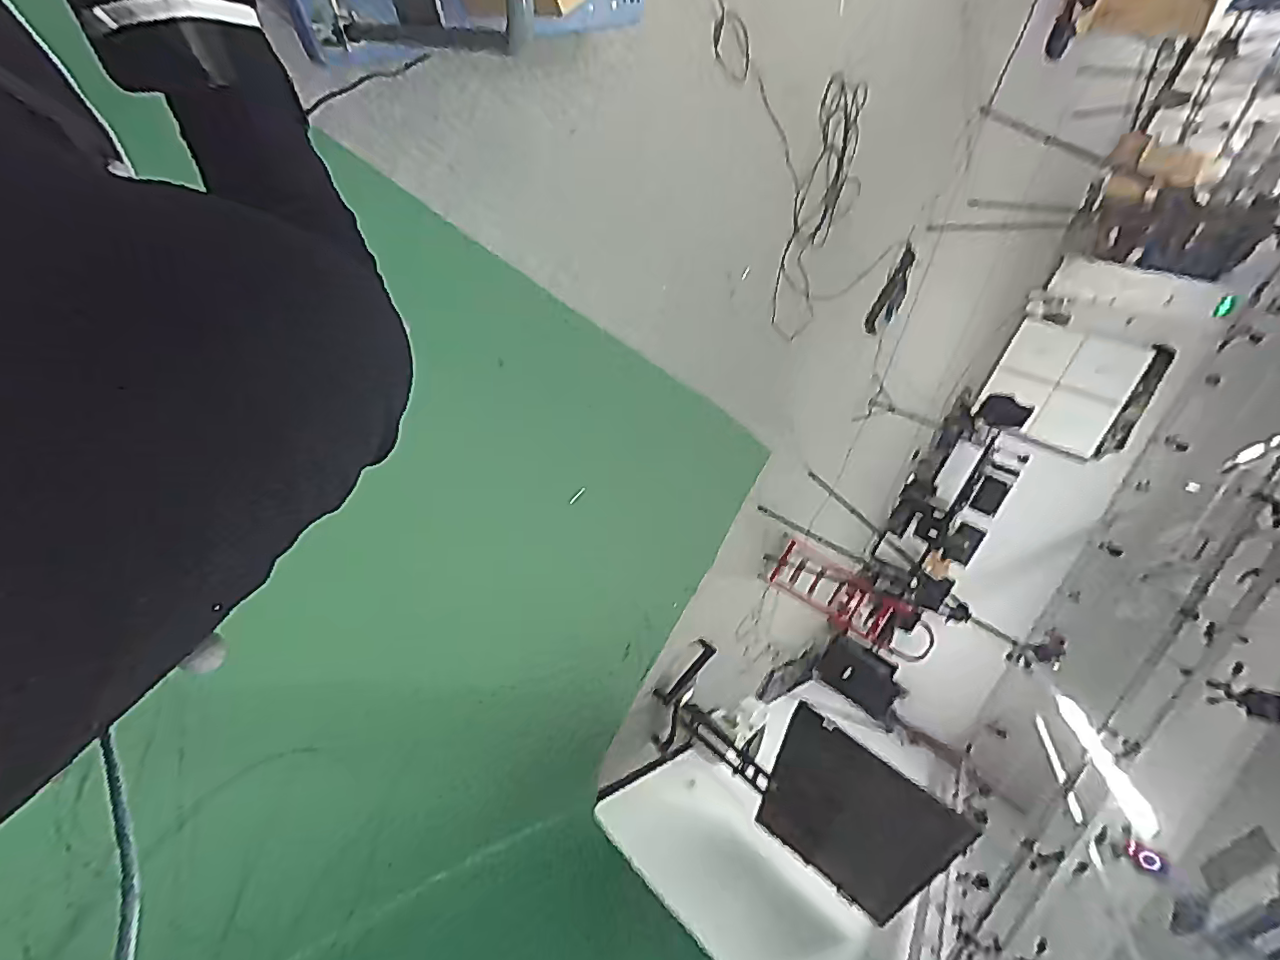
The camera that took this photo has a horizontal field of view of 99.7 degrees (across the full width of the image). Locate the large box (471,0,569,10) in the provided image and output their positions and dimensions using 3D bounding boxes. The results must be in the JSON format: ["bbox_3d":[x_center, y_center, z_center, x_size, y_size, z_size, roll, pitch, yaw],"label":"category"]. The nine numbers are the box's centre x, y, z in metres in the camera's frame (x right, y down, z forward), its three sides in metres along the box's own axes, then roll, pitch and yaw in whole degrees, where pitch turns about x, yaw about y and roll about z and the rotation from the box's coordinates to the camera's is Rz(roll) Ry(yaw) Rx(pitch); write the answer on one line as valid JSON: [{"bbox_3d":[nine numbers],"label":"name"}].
[{"bbox_3d":[-0.218,-1.133,0.932,0.320,0.320,0.408,-50,146,-11],"label":"large box"}]
